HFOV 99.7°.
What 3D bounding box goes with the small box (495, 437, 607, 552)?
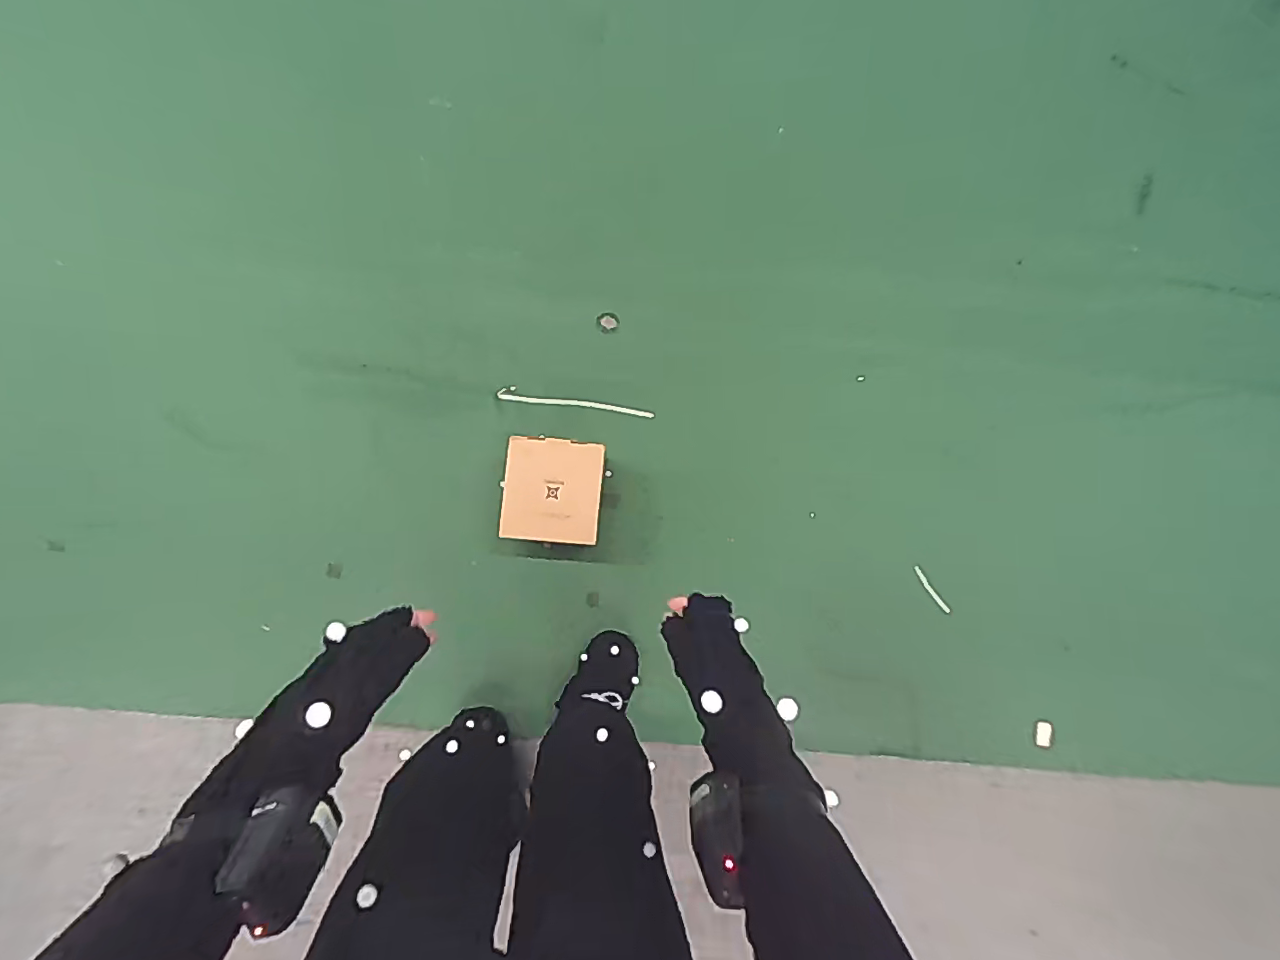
[{"bbox_3d":[-0.152,0.032,0.976,0.168,0.176,0.179,7,85,-2],"label":"small box"}]
